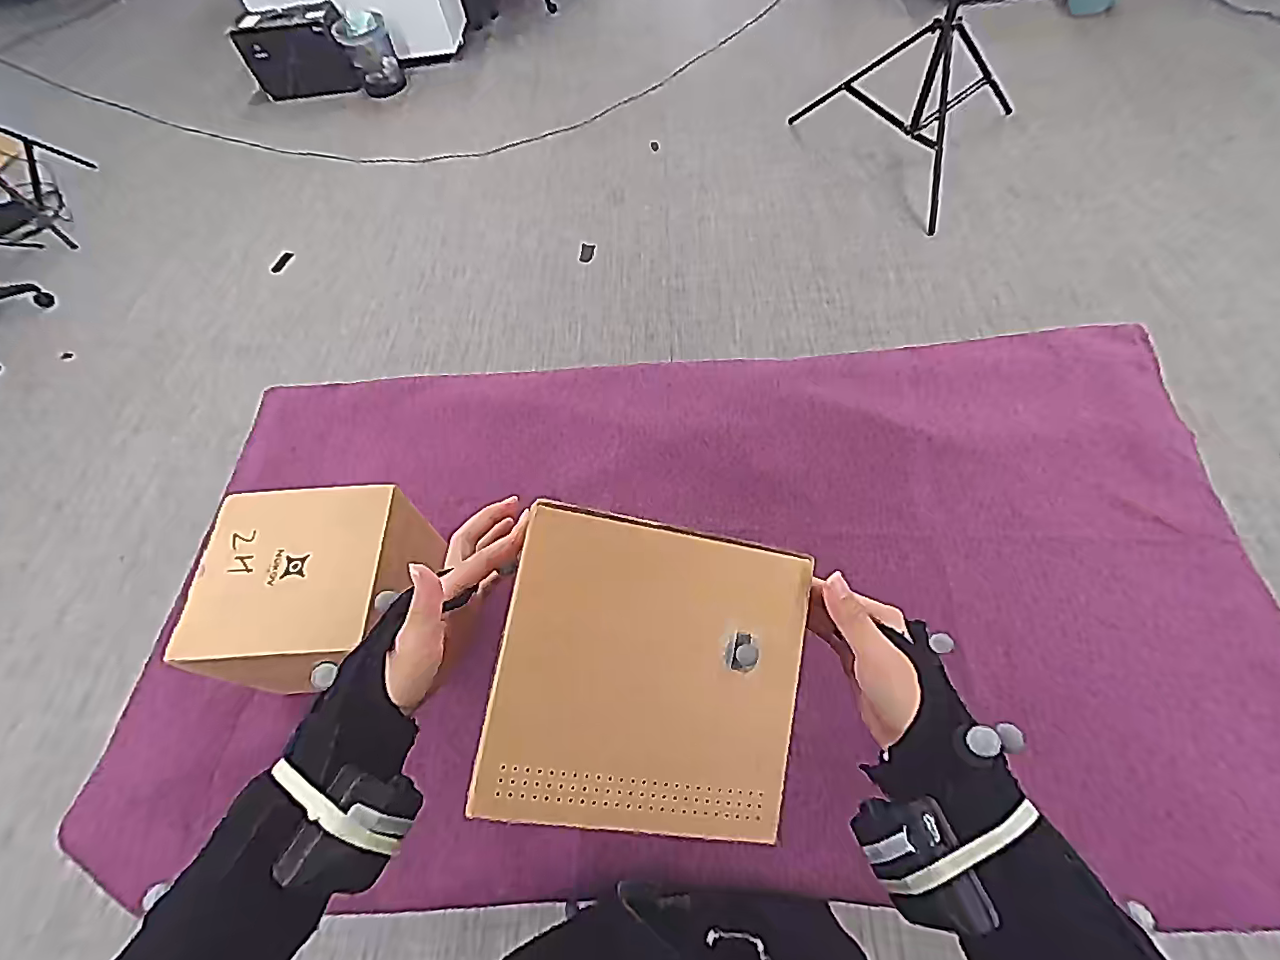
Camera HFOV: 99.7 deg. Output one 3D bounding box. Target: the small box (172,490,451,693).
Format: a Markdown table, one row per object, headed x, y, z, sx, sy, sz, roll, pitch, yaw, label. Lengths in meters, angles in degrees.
| x | y | z | sx | sy | sz | roll | pitch | yaw | label |
| --- | --- | --- | --- | --- | --- | --- | --- | --- | --- |
| -0.319 | 0.125 | 0.574 | 0.179 | 0.176 | 0.168 | -3 | 59 | 2 | small box |
